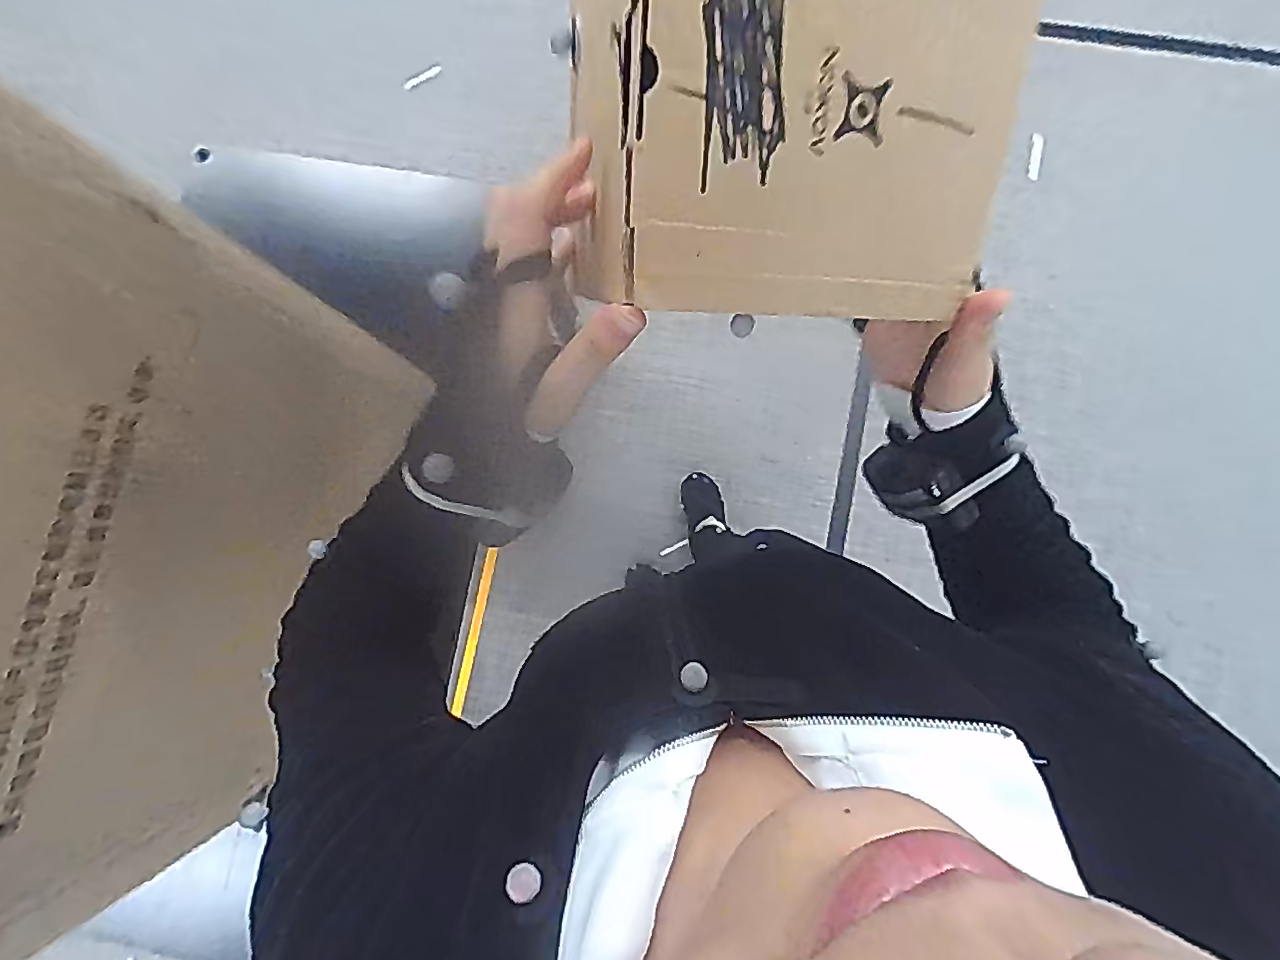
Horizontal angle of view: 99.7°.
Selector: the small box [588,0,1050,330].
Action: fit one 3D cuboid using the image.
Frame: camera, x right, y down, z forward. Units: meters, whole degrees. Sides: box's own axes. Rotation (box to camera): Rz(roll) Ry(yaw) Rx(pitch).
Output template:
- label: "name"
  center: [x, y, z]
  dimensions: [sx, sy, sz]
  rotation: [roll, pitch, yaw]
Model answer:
- label: "small box"
  center: [0.069, -0.177, 0.302]
  dimensions: [0.179, 0.176, 0.168]
  rotation: [-1, 109, -16]
